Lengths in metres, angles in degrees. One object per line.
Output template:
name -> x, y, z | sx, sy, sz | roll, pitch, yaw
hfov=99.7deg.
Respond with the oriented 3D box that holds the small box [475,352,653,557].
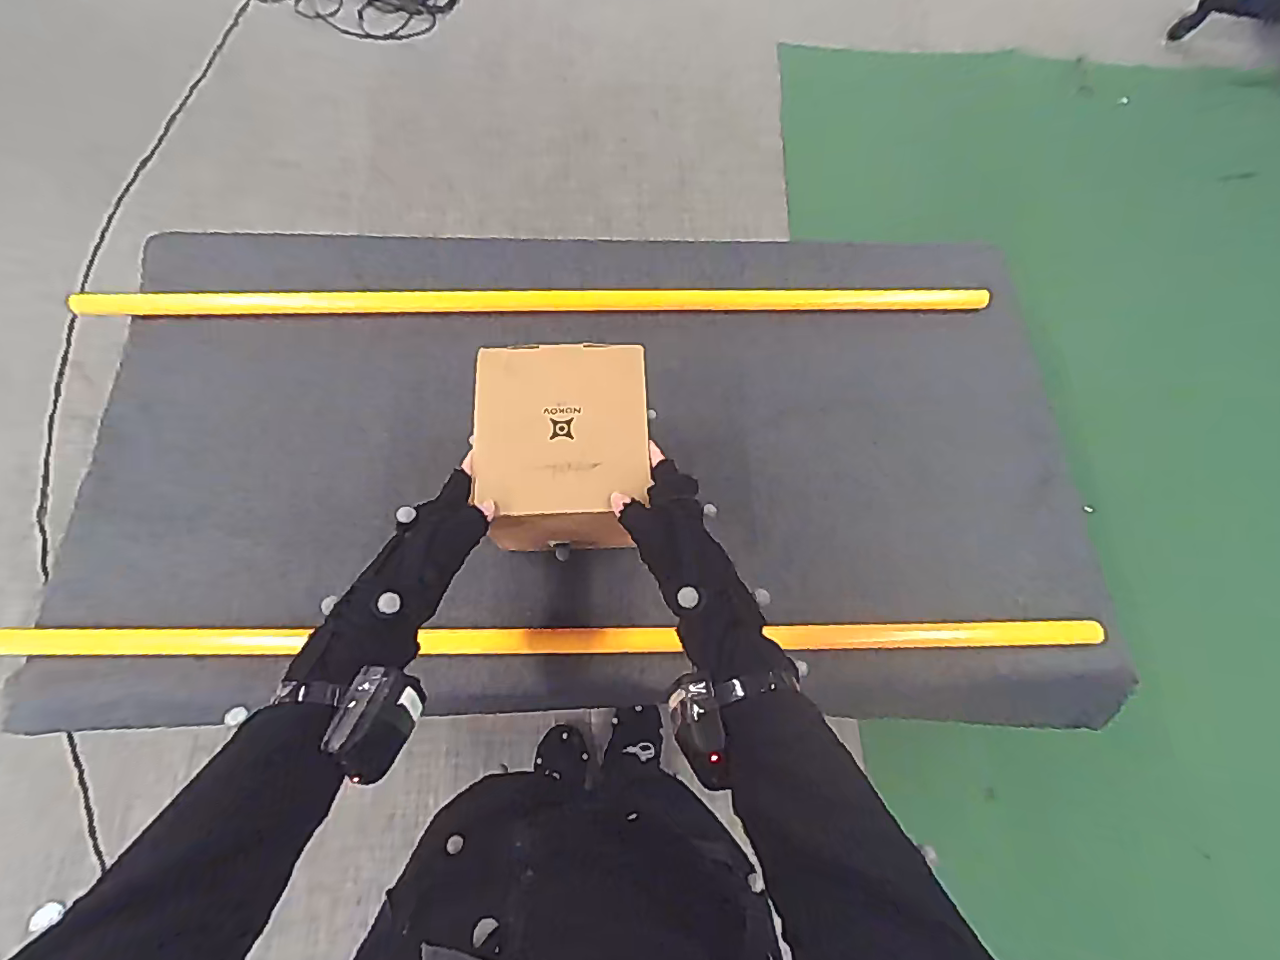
small box -> -0.077, -0.021, 0.597 | 0.168, 0.176, 0.179 | -3, 72, -3
